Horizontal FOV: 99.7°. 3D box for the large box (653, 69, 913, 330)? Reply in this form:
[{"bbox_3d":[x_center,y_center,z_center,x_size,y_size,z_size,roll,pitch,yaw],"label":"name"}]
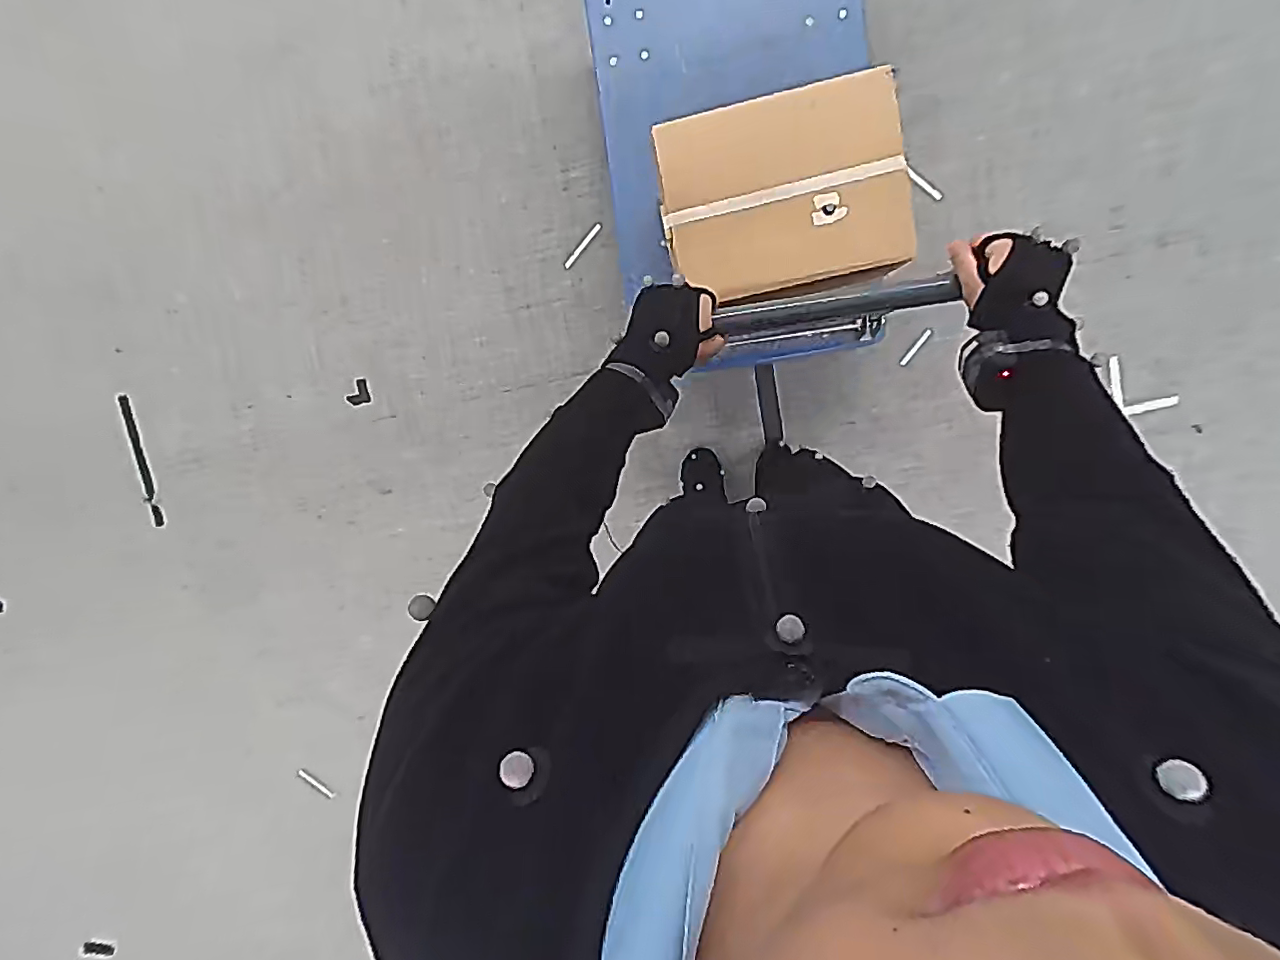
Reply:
[{"bbox_3d":[0.256,-0.516,1.080,0.408,0.320,0.320,-12,98,5],"label":"large box"}]
